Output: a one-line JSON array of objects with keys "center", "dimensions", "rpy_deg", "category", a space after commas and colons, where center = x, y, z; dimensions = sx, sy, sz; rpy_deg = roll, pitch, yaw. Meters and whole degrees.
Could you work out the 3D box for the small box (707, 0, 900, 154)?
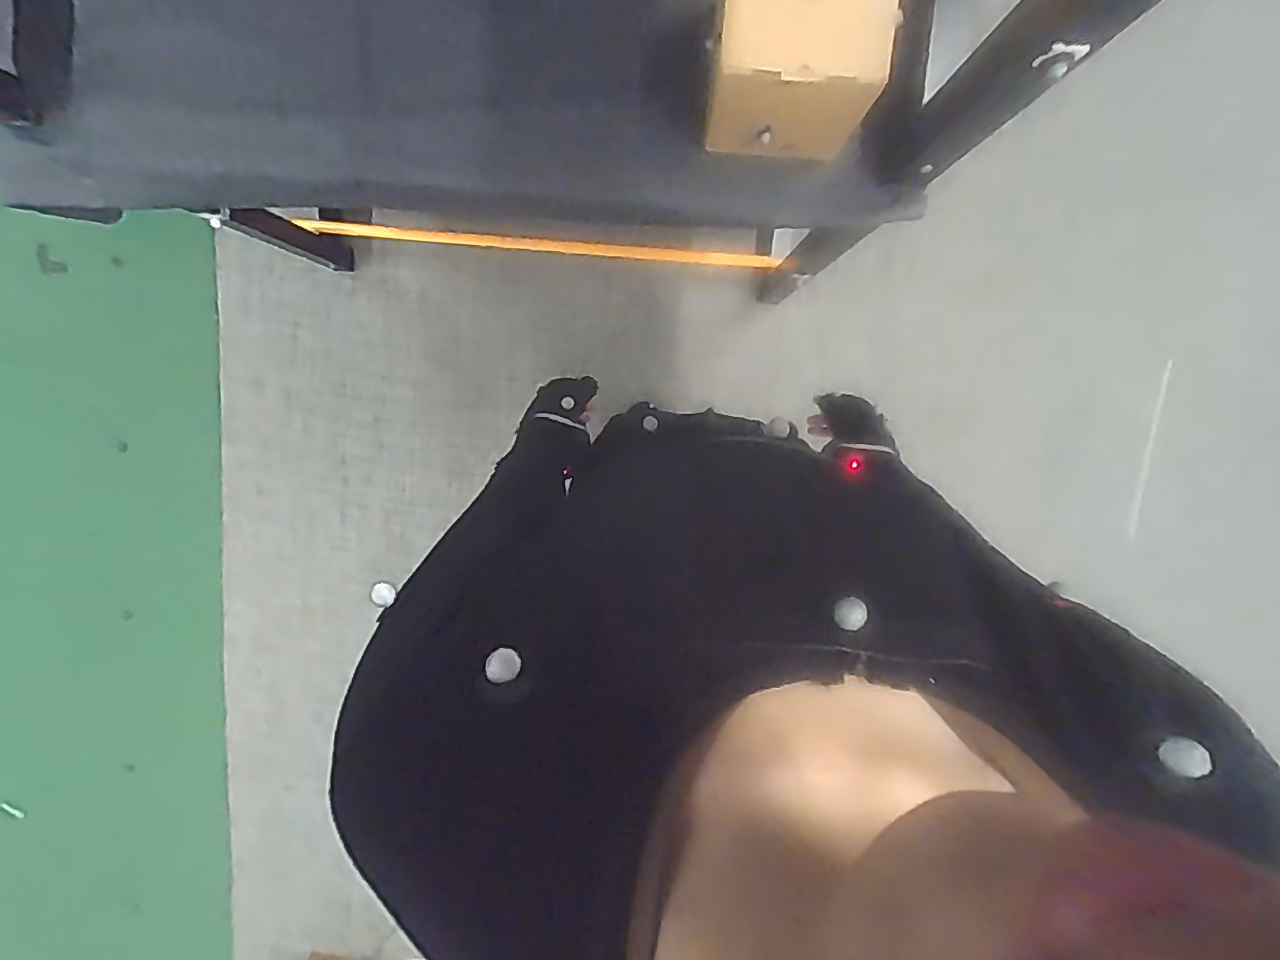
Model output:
[{"center": [0.166, -0.489, 0.583], "dimensions": [0.168, 0.176, 0.179], "rpy_deg": [5, 98, 2], "category": "small box"}]
